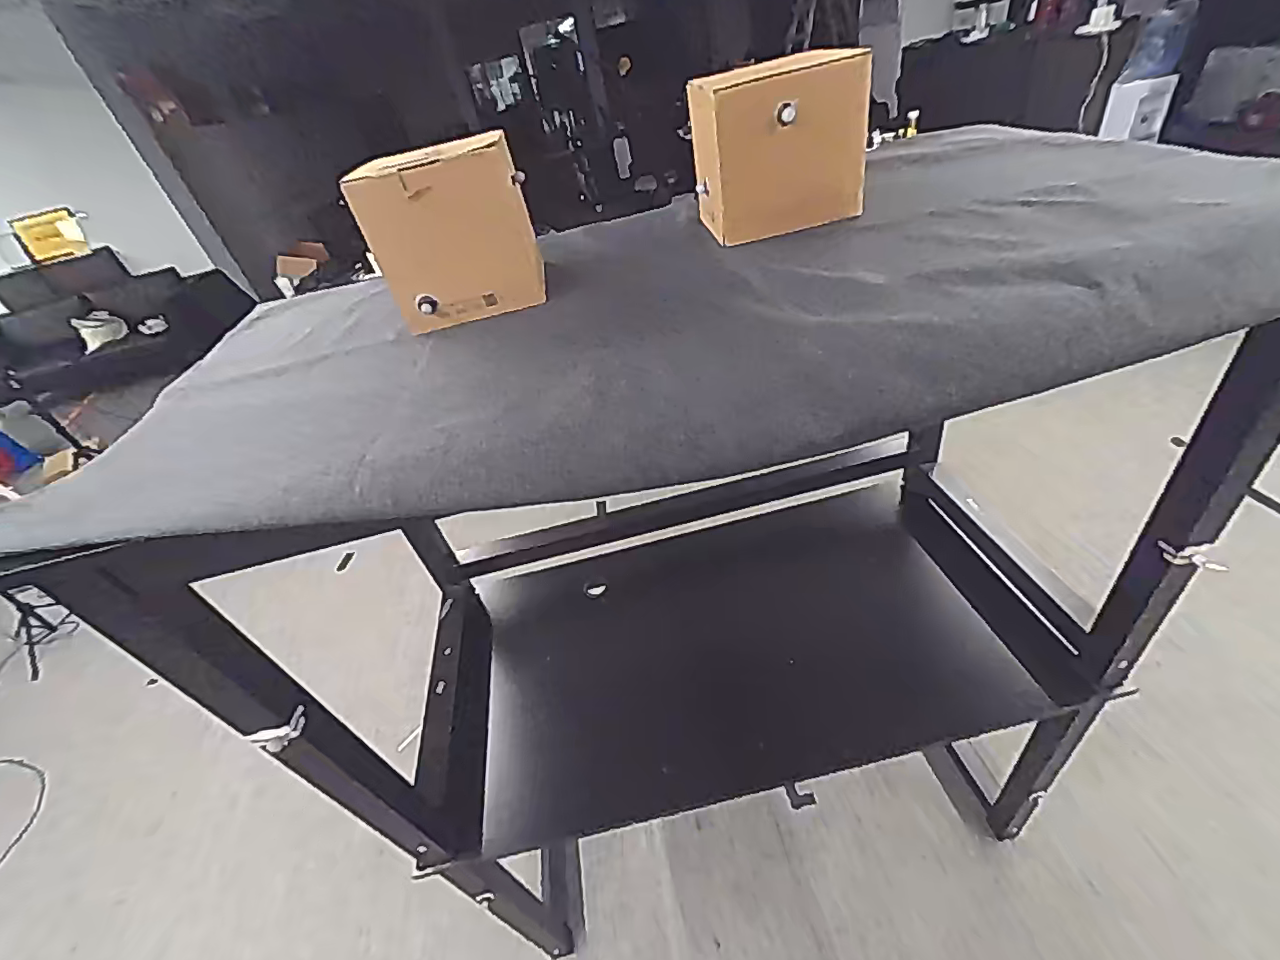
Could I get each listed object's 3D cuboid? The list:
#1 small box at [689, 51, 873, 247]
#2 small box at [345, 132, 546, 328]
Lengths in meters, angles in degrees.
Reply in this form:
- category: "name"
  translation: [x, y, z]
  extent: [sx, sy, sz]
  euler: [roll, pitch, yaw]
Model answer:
- category: "small box"
  translation: [0.169, -0.417, 0.683]
  extent: [0.179, 0.176, 0.168]
  euler: [-13, 38, 3]
- category: "small box"
  translation: [-0.218, -0.301, 0.660]
  extent: [0.168, 0.176, 0.179]
  euler: [-14, 37, 0]
